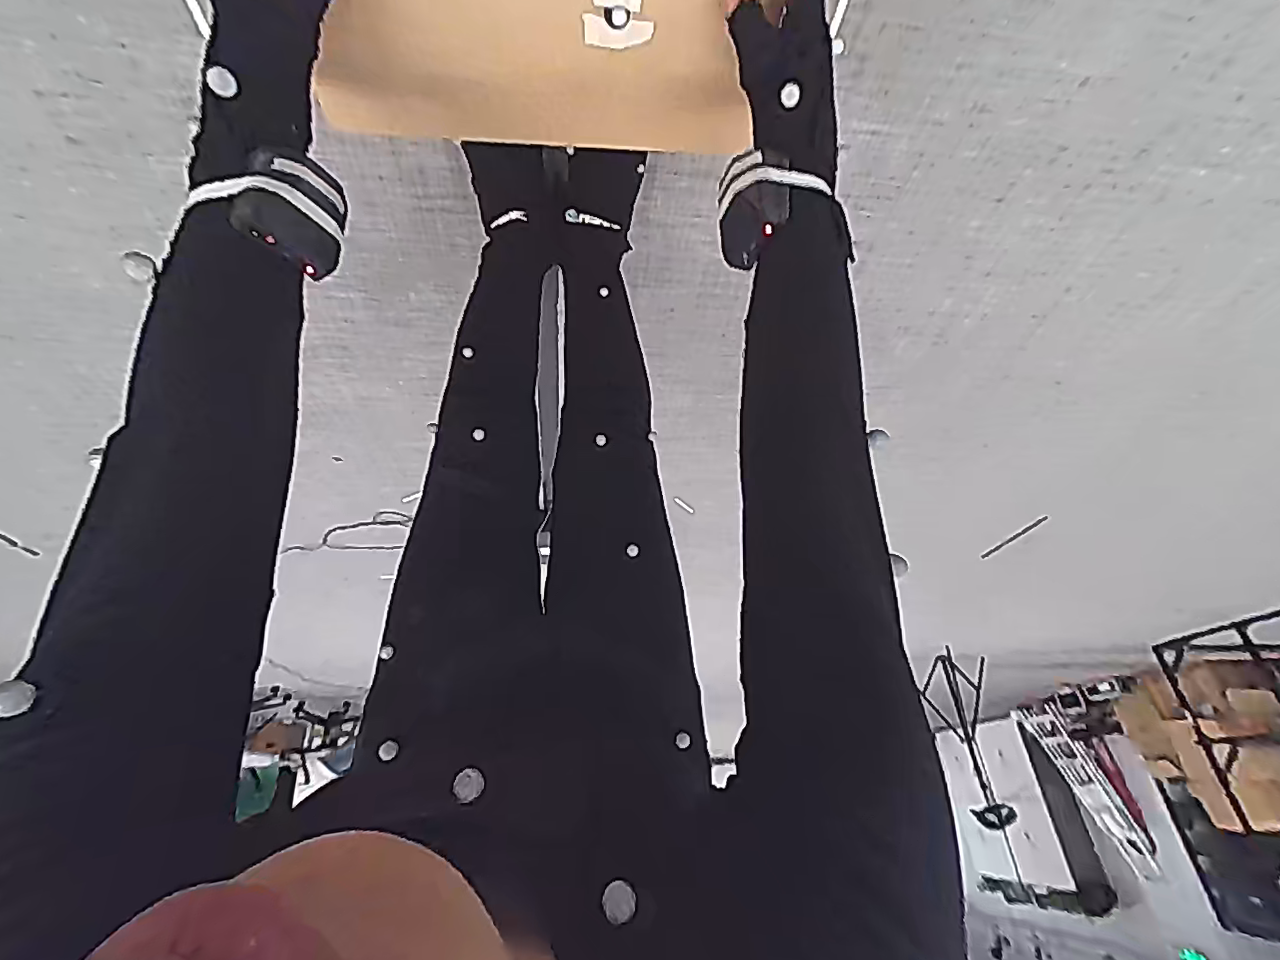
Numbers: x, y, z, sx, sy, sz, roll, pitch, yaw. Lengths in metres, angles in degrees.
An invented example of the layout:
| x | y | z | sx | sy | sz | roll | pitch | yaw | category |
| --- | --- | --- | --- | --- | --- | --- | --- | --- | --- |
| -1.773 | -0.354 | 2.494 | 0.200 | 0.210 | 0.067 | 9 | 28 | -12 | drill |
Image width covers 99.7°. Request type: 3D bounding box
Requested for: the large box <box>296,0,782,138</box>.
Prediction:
| x | y | z | sx | sy | sz | roll | pitch | yaw | category |
| --- | --- | --- | --- | --- | --- | --- | --- | --- | --- |
| -0.086 | -0.546 | 0.476 | 0.408 | 0.320 | 0.320 | -1 | 150 | -5 | large box |
